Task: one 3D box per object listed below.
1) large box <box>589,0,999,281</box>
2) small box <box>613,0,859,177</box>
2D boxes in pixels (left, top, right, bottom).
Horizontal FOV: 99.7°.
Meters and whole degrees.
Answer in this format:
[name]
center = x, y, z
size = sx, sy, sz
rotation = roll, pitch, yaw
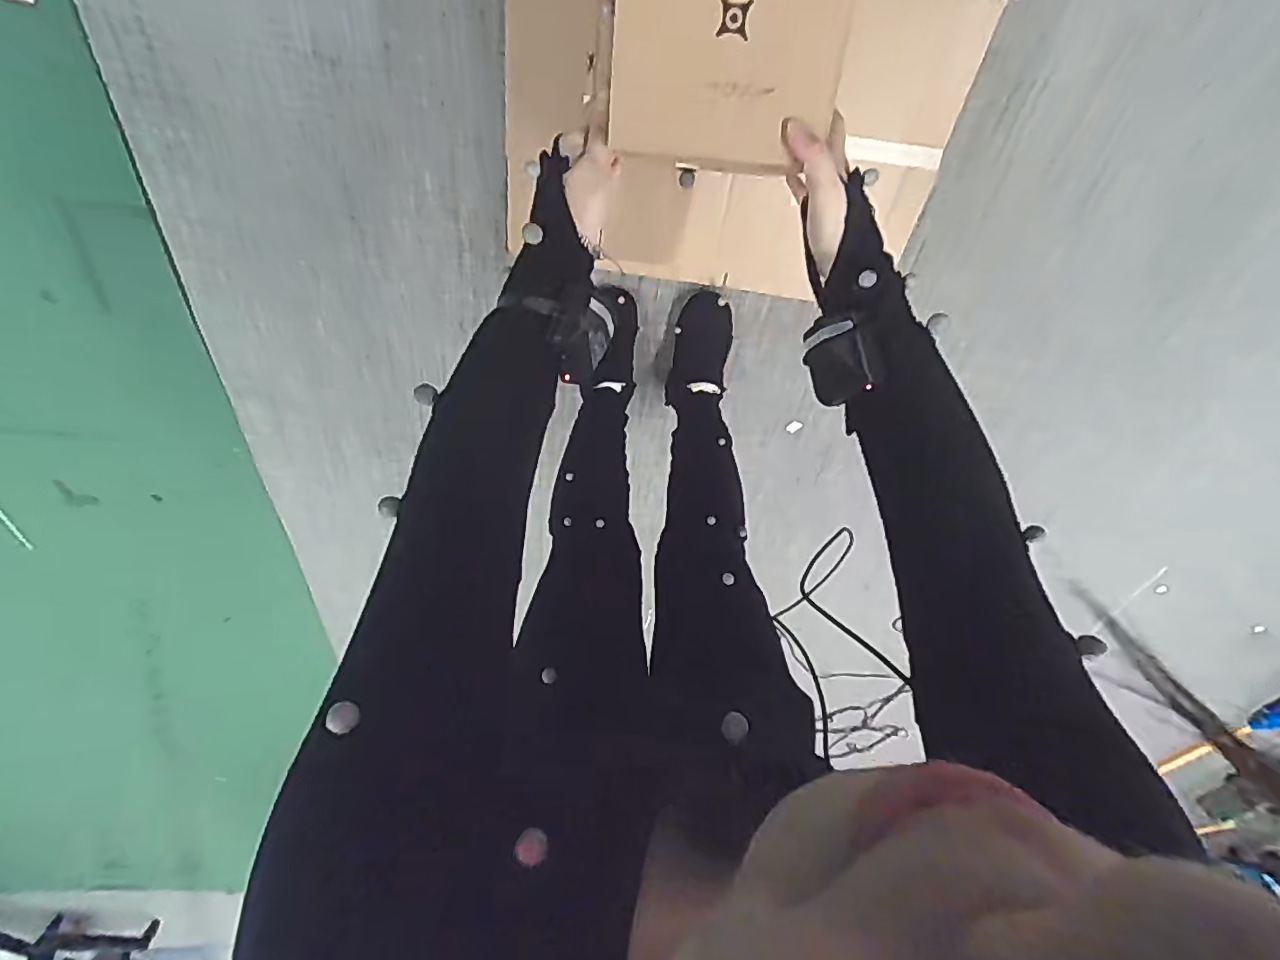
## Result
[large box]
center = 0.138, -0.484, 0.713
size = 0.408, 0.320, 0.320
rotation = 3, 130, -7
[small box]
center = 0.068, -0.359, 0.442
size = 0.168, 0.176, 0.179
rotation = 5, 117, -1
